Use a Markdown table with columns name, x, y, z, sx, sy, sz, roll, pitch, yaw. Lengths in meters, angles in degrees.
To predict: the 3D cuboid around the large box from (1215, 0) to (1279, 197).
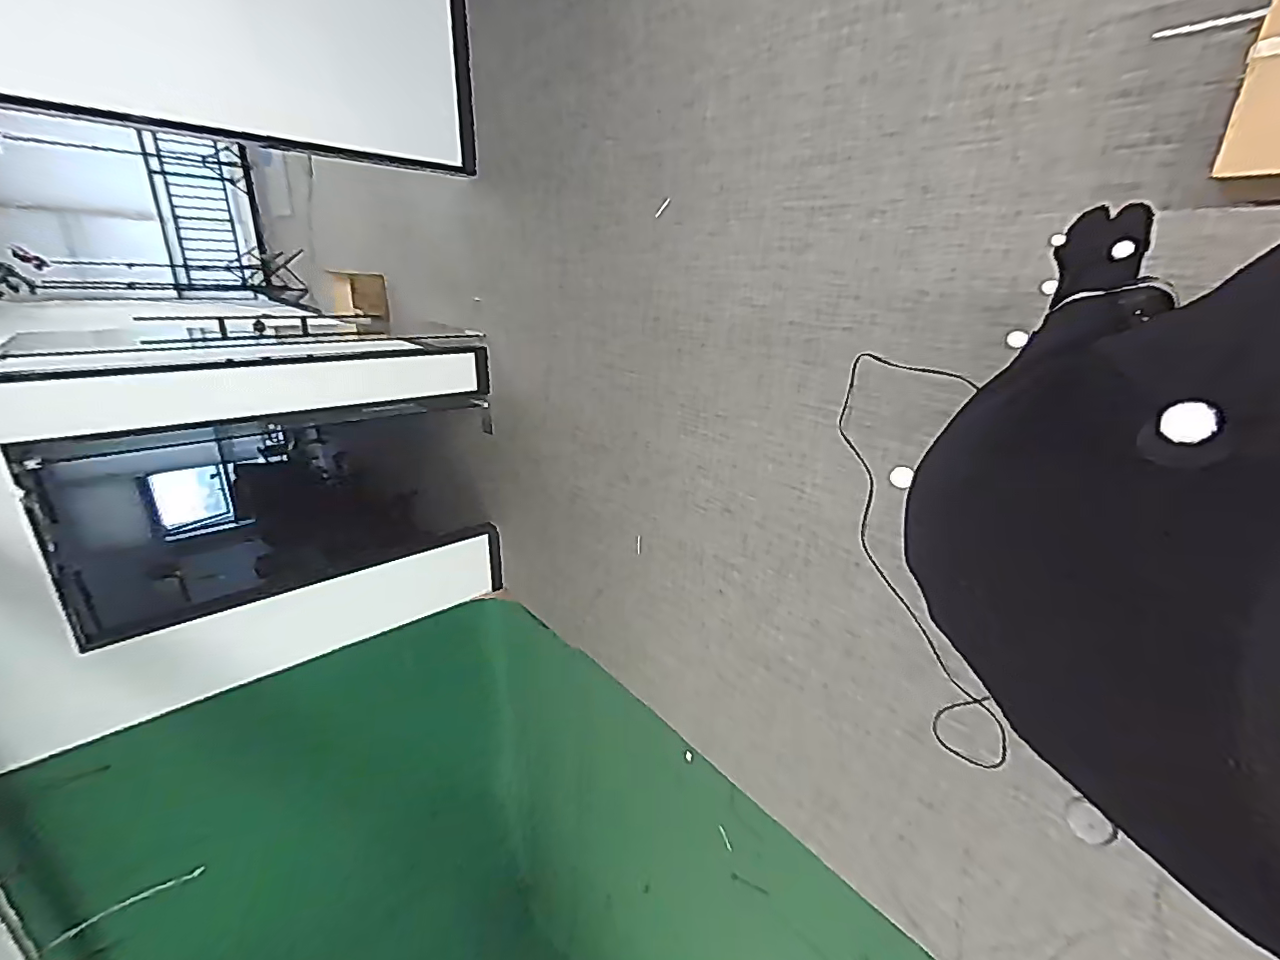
| name | x | y | z | sx | sy | sz | roll | pitch | yaw |
| --- | --- | --- | --- | --- | --- | --- | --- | --- | --- |
| large box | 1.086 | -0.574 | 0.699 | 0.408 | 0.320 | 0.320 | 23 | 119 | 44 |
